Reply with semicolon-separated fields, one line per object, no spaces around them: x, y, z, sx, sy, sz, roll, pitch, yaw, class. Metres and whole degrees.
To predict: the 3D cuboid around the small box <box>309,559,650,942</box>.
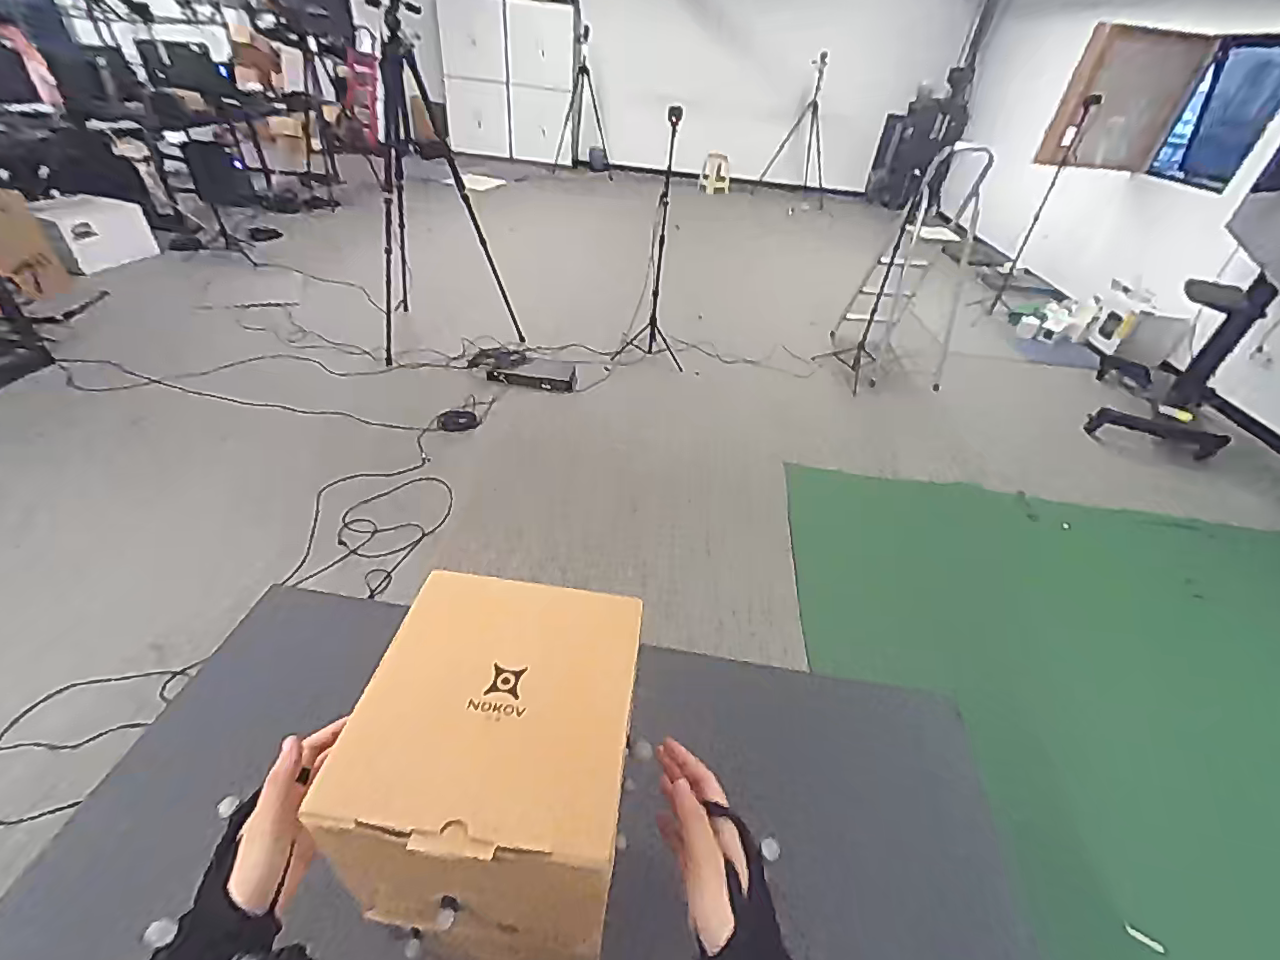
-0.090;0.186;0.385;0.168;0.176;0.179;8;37;1;small box
